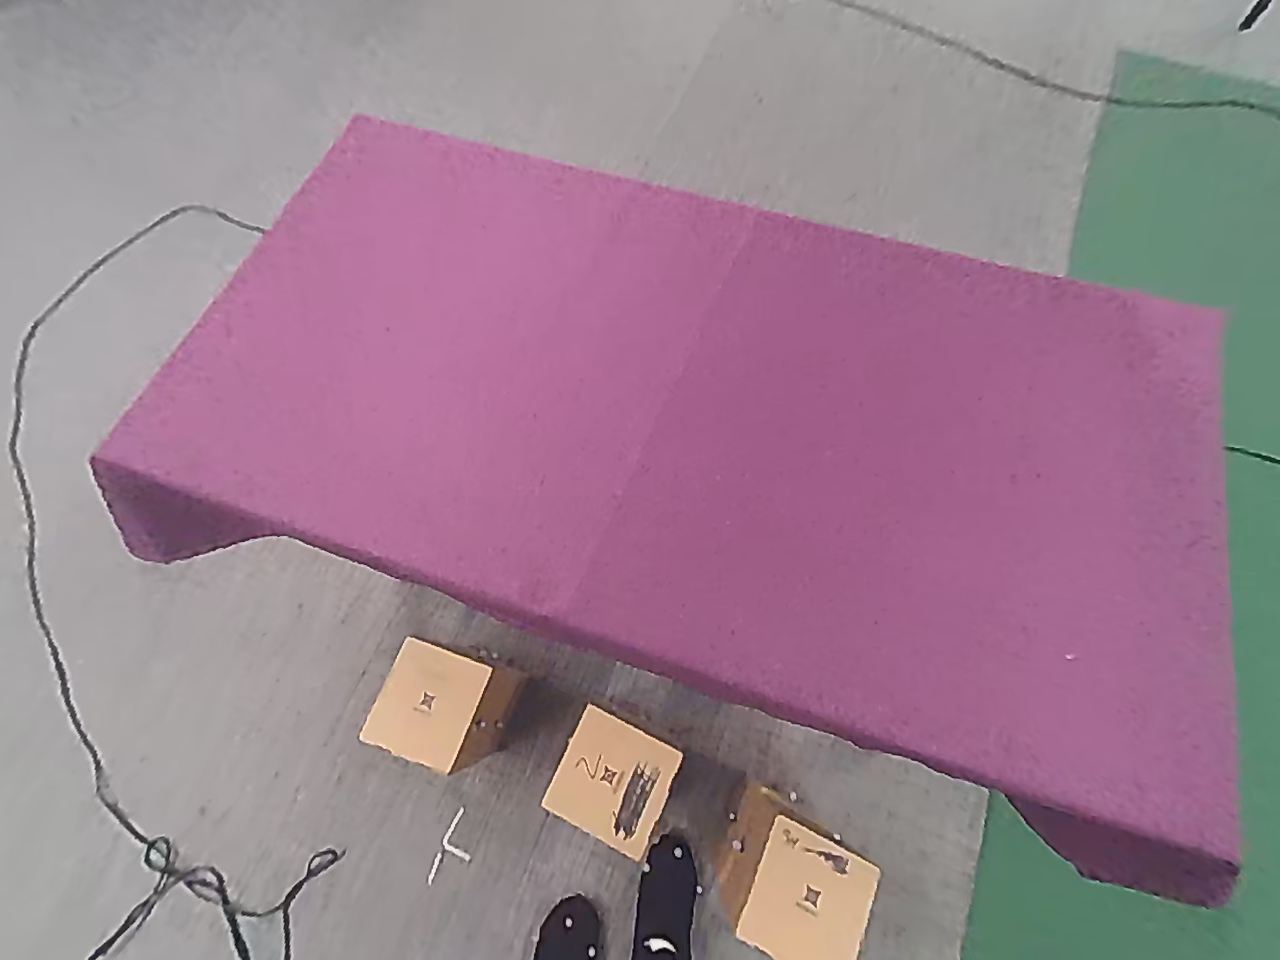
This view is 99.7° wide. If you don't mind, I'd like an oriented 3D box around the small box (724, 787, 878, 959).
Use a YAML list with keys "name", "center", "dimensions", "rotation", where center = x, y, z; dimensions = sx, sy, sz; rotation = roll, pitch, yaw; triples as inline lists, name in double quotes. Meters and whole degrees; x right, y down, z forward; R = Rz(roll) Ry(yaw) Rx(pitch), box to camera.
- name: "small box"
  center: [0.245, 0.632, 0.865]
  dimensions: [0.168, 0.176, 0.179]
  rotation: [26, 73, 9]

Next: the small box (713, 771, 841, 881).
- name: "small box"
  center: [0.249, 0.685, 1.023]
  dimensions: [0.168, 0.176, 0.179]
  rotation: [29, 72, 11]
